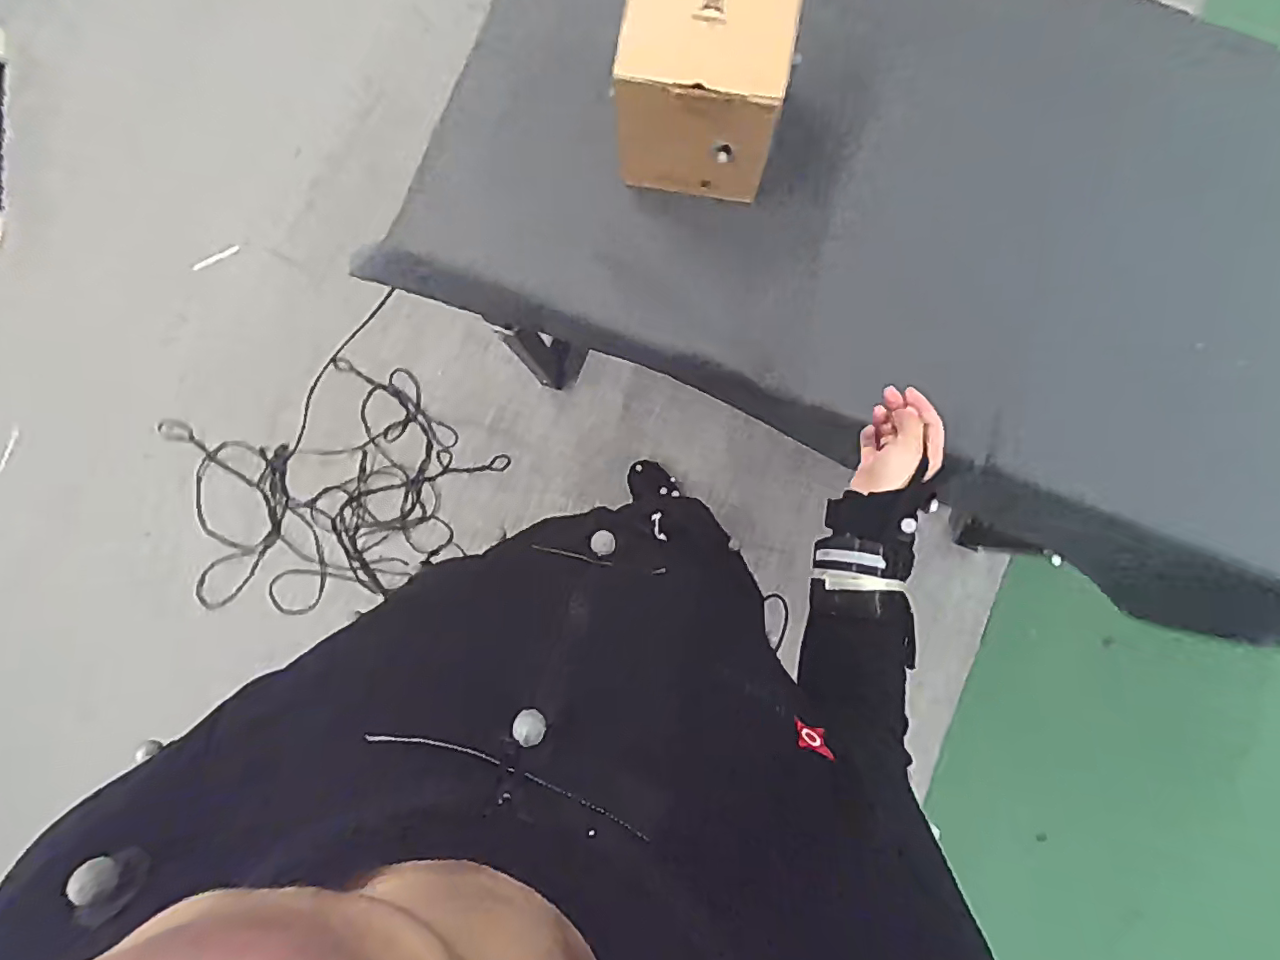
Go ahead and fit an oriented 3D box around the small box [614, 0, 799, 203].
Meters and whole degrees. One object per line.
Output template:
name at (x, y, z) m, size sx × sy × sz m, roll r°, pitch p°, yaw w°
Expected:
small box at (0.071, -0.443, 0.603) m, size 0.168 × 0.176 × 0.179 m, roll 10°, pitch 85°, yaw 1°
